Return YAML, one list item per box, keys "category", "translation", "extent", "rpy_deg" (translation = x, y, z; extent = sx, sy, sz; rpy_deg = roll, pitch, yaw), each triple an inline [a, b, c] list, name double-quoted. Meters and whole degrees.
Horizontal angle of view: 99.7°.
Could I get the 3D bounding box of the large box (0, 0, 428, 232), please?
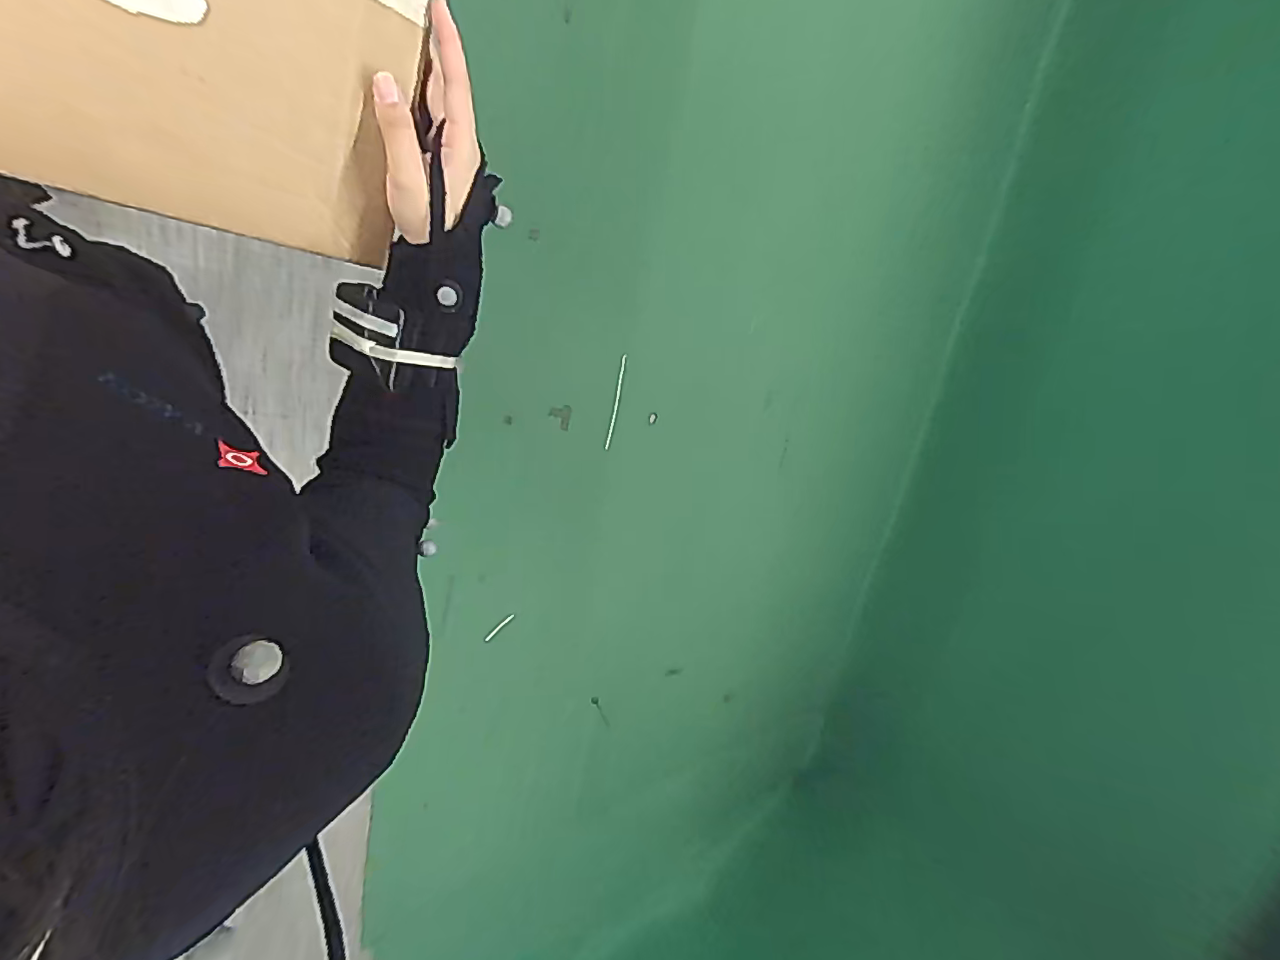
- category: "large box"
  translation: [-0.363, -0.373, 0.280]
  extent: [0.408, 0.320, 0.320]
  rpy_deg: [-2, 122, -46]
